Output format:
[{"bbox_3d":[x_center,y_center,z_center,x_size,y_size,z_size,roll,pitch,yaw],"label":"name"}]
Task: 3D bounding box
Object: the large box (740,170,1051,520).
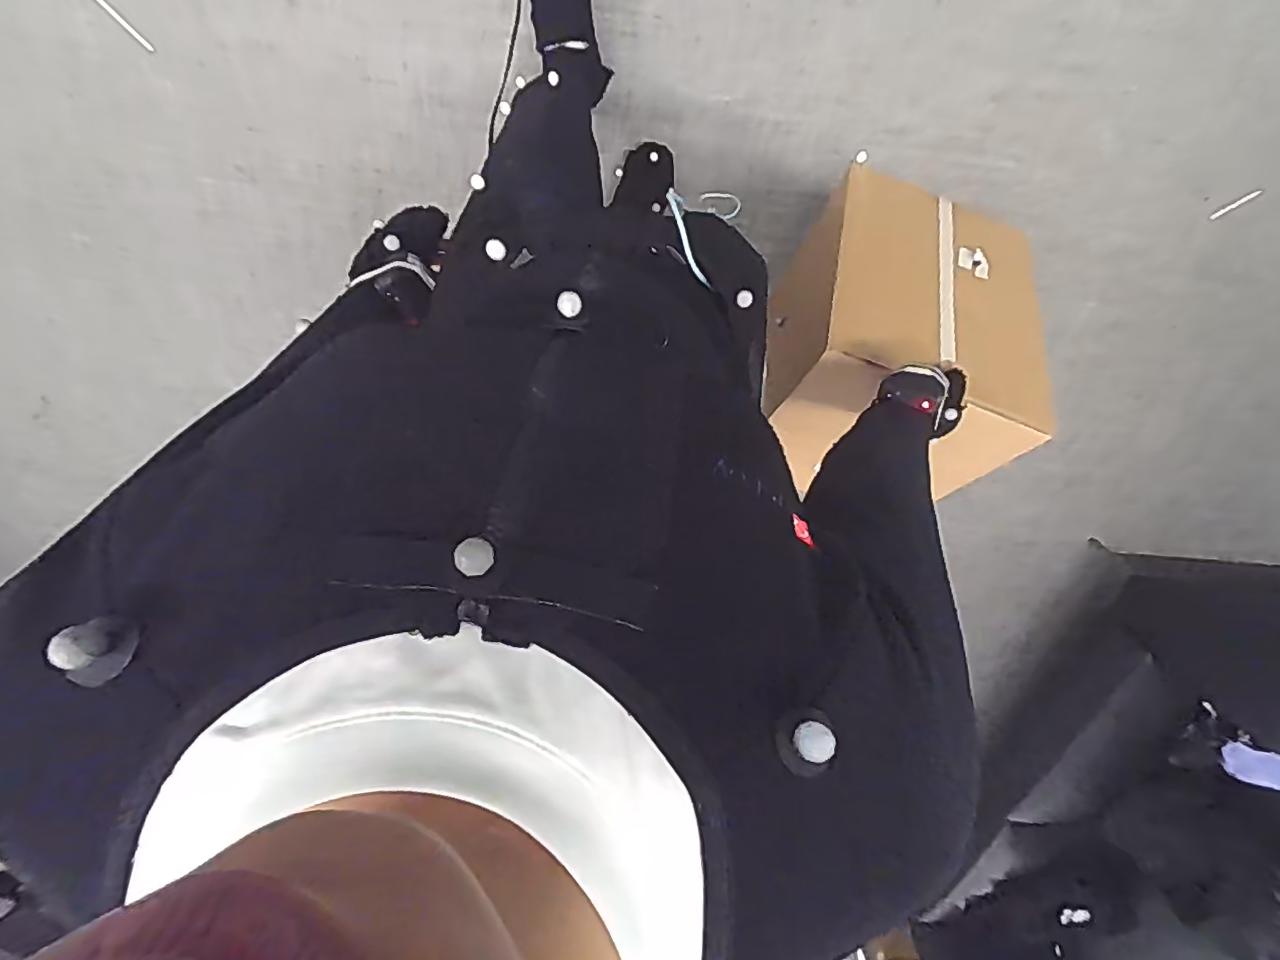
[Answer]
[{"bbox_3d":[0.387,-0.203,0.887,0.320,0.408,0.320,20,151,-5],"label":"large box"}]
